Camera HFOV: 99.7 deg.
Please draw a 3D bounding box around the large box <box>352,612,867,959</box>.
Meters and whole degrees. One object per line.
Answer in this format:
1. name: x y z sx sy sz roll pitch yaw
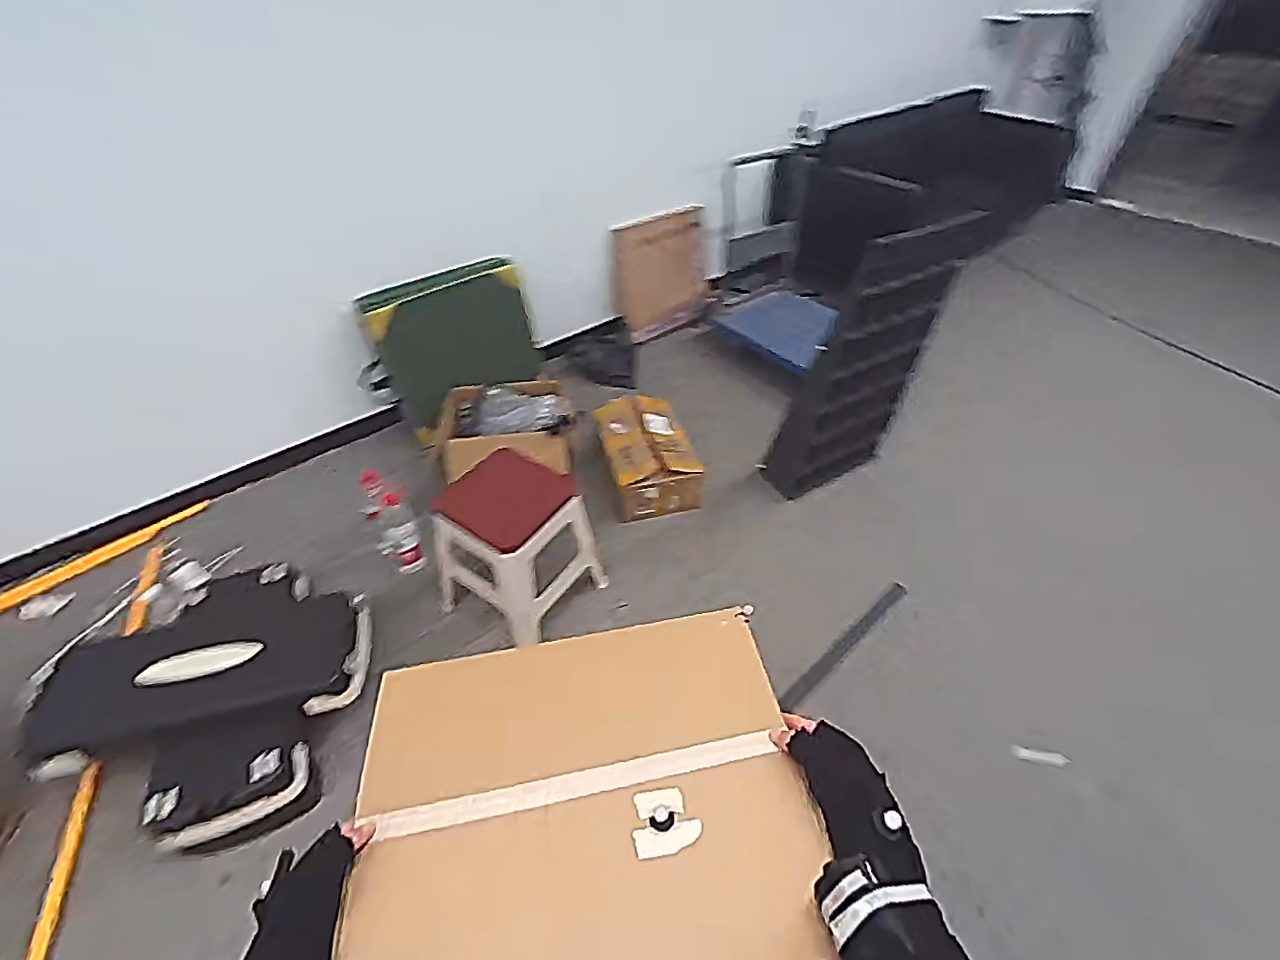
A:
1. large box: -0.038 0.394 0.601 0.408 0.320 0.320 -8 42 -6
